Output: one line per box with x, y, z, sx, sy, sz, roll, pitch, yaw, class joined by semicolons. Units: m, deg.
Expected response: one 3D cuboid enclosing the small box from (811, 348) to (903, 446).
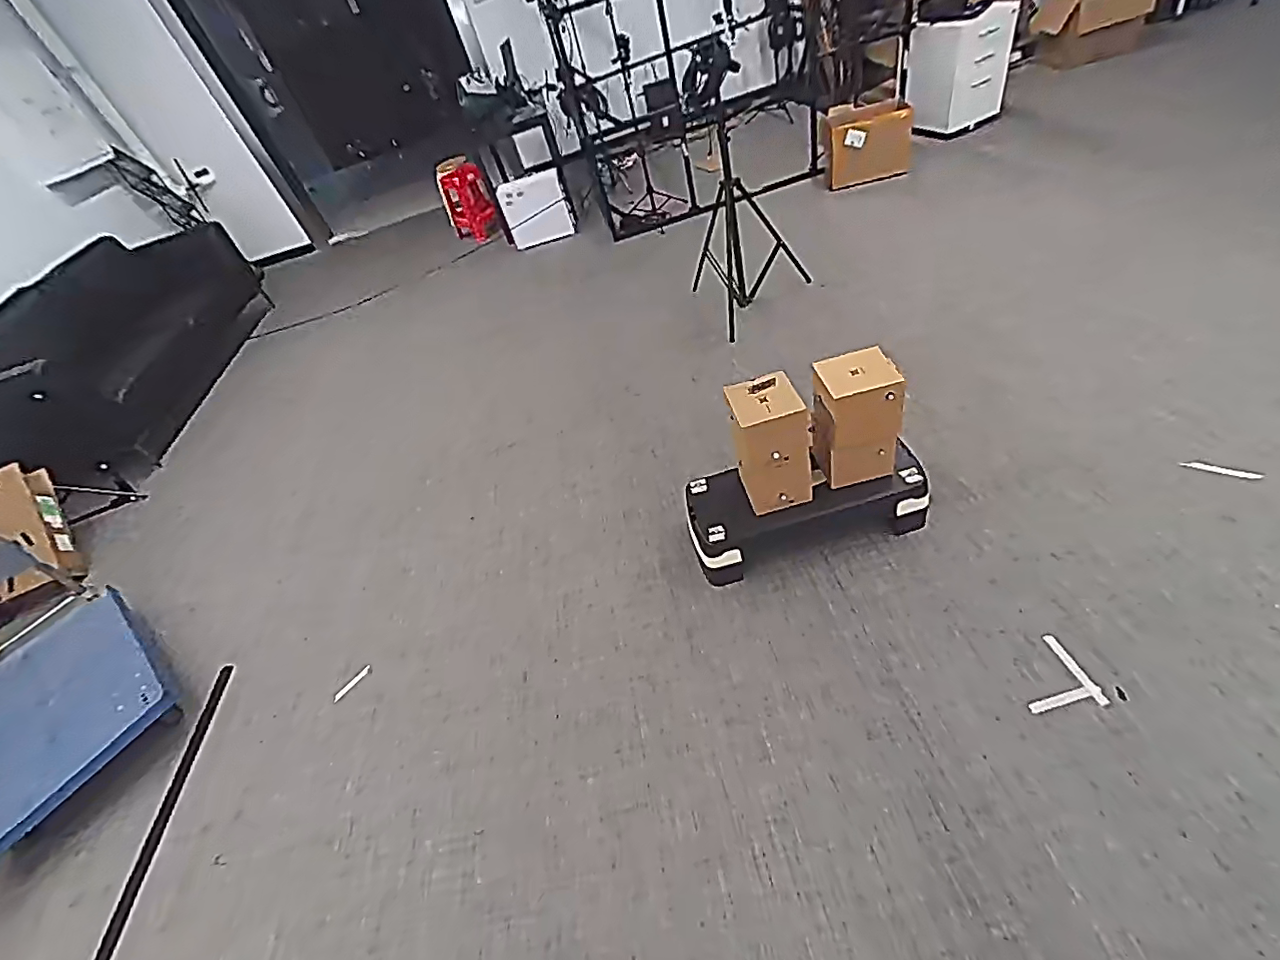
0.559;-0.211;1.406;0.179;0.176;0.168;-15;44;5;small box

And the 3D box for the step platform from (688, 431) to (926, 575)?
0.493;0.049;1.660;0.684;0.204;0.286;-18;43;3;step platform

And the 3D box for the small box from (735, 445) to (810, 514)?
0.373;-0.034;1.533;0.168;0.176;0.179;-16;43;4;small box

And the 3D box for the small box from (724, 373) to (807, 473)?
0.330;-0.149;1.423;0.168;0.176;0.179;-16;44;4;small box
